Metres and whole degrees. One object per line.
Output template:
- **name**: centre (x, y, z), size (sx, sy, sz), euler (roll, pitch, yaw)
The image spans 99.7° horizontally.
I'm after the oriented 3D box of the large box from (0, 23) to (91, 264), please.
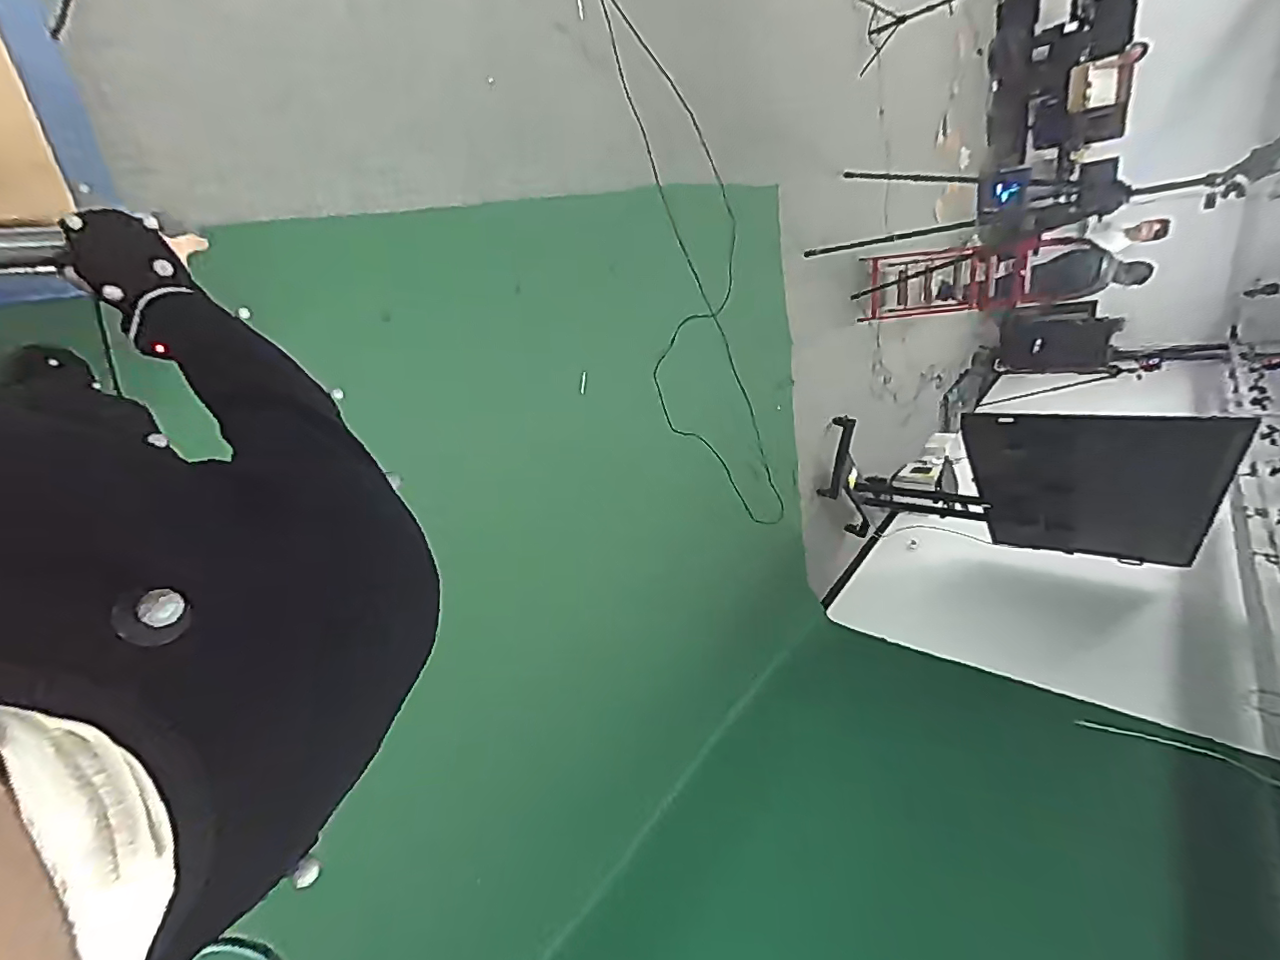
- **large box**: centre (-1.062, -0.523, 0.742), size (0.320, 0.320, 0.408), euler (-28, 116, -43)
